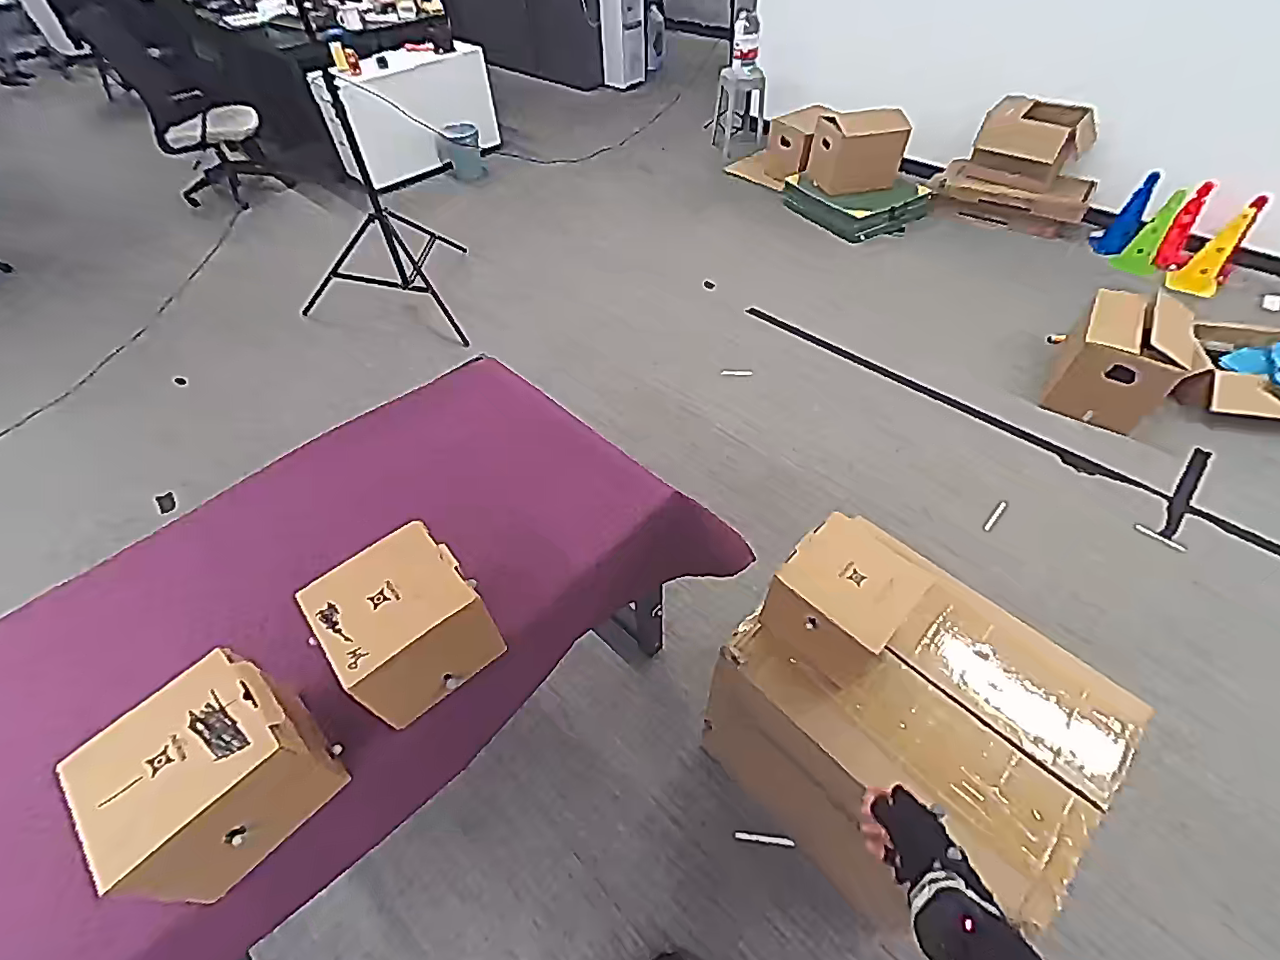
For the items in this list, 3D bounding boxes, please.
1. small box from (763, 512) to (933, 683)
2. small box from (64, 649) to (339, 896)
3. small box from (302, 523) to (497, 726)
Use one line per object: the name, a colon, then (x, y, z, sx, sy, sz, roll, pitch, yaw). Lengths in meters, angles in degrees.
small box: (0.318, 0.191, 0.864, 0.168, 0.176, 0.179, -39, 61, -24)
small box: (-0.489, 0.341, 0.633, 0.168, 0.176, 0.179, 34, 60, 28)
small box: (-0.316, 0.199, 0.748, 0.179, 0.176, 0.168, -34, 56, -25)
